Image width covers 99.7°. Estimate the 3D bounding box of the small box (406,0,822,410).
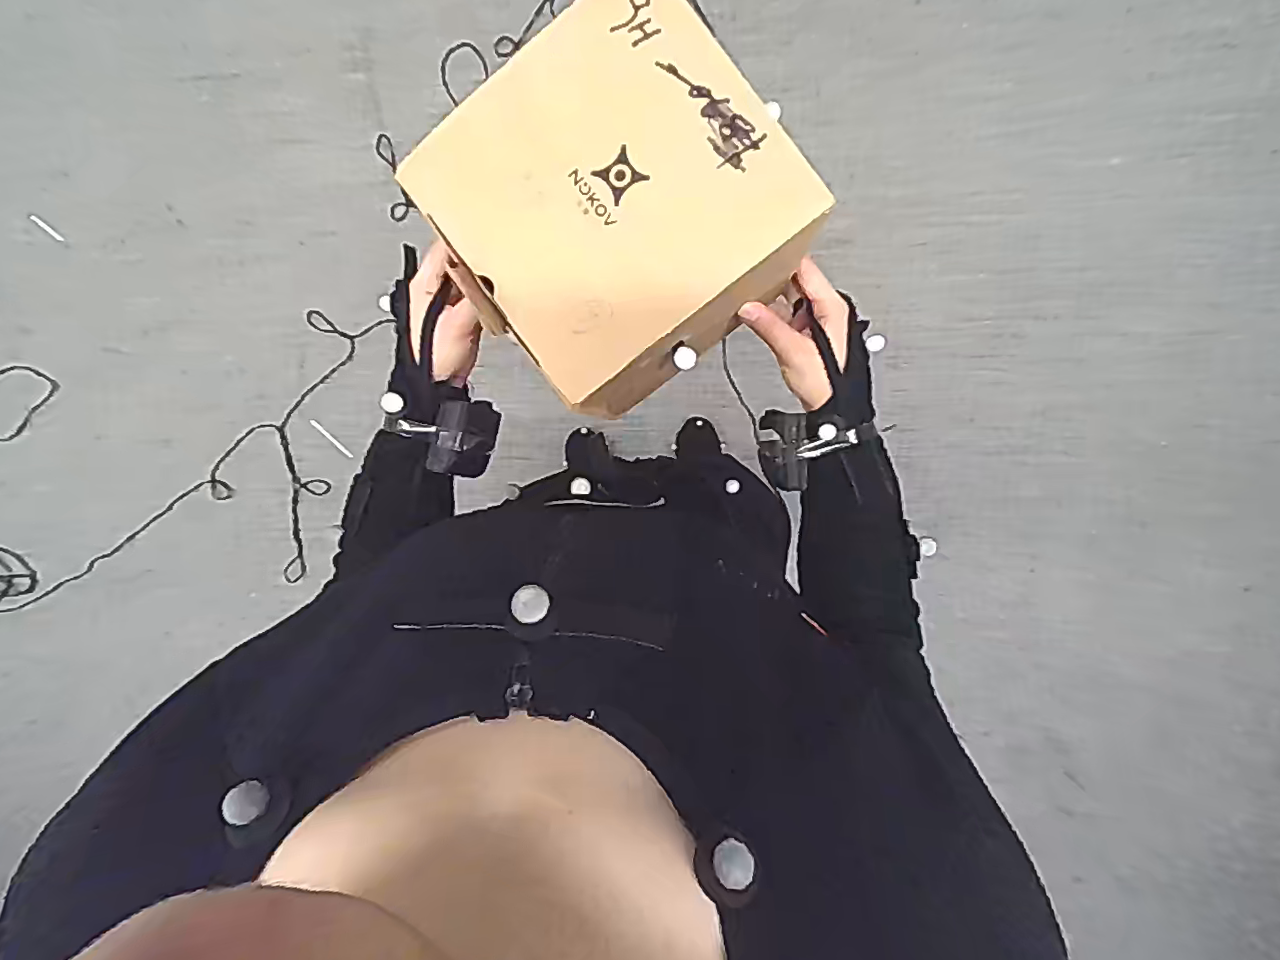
[{"bbox_3d":[-0.009,-0.161,0.371,0.179,0.176,0.168,-37,90,8],"label":"small box"}]
